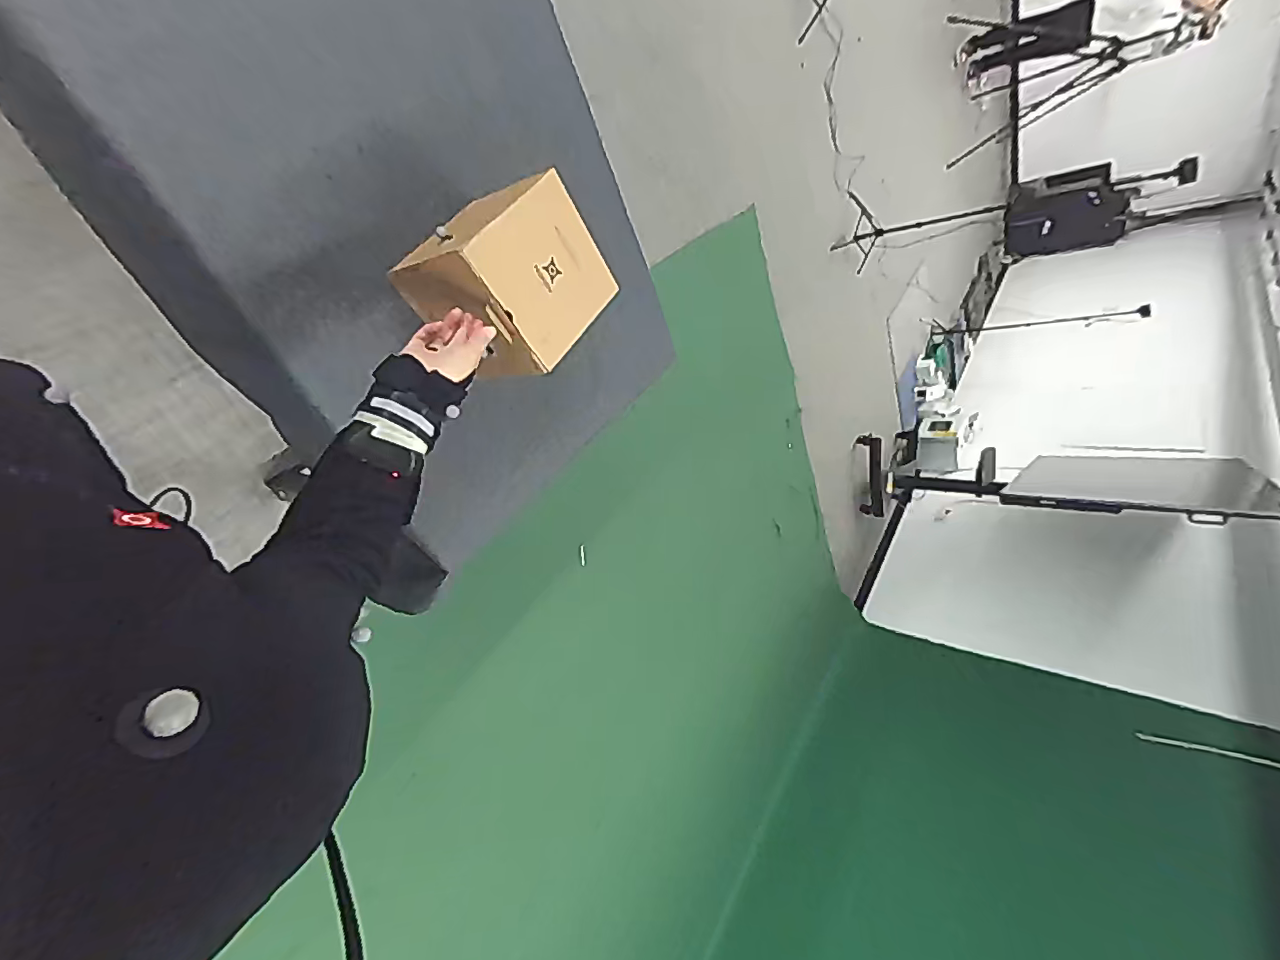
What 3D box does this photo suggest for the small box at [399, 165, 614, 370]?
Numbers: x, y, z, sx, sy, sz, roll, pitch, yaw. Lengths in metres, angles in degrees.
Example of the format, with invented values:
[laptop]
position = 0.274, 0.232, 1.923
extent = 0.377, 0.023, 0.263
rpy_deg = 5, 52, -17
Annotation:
[small box]
position = -0.171, -0.254, 0.683
extent = 0.179, 0.176, 0.168
rpy_deg = -59, 135, -27
